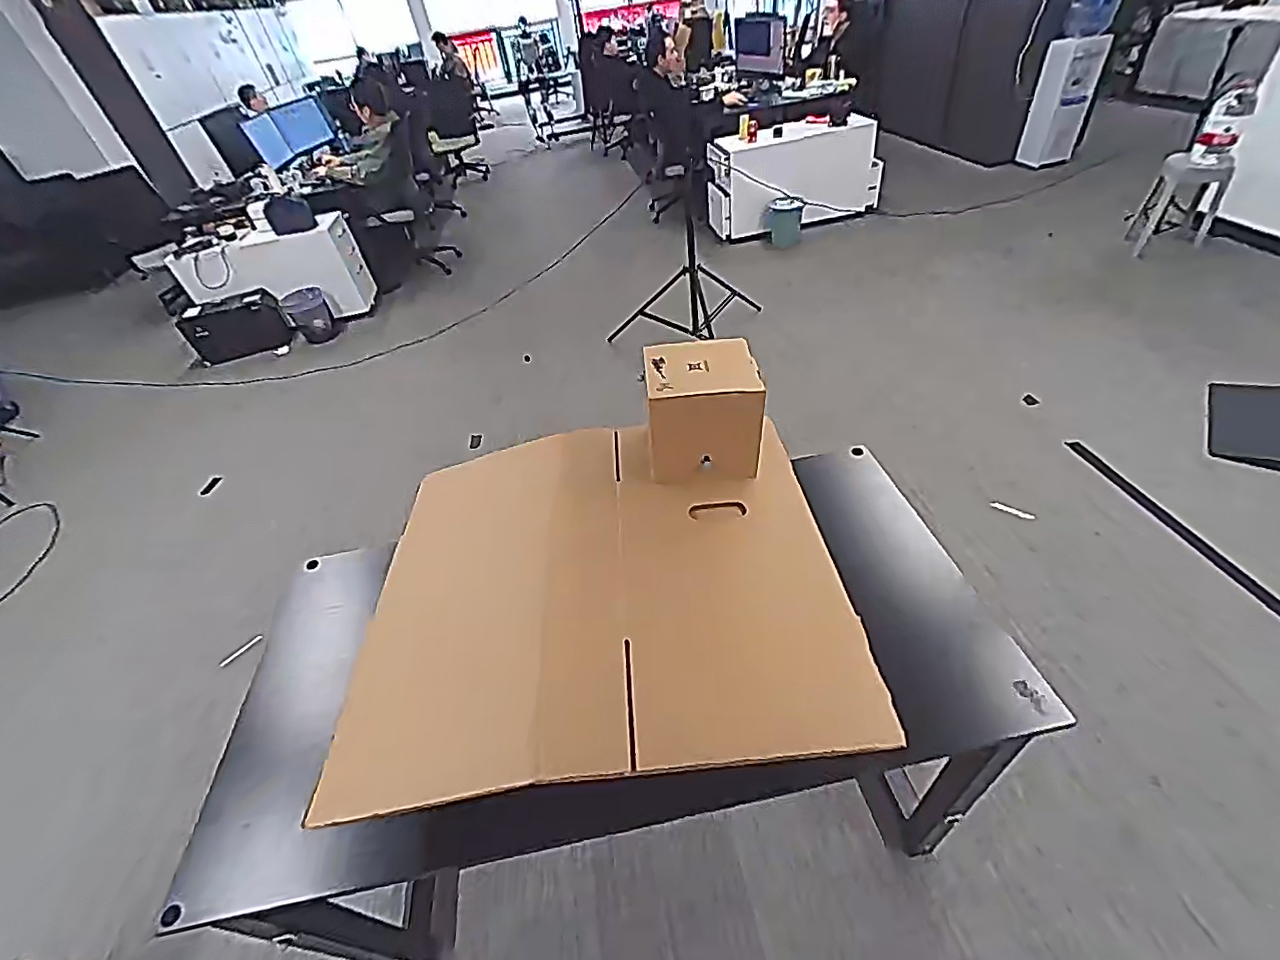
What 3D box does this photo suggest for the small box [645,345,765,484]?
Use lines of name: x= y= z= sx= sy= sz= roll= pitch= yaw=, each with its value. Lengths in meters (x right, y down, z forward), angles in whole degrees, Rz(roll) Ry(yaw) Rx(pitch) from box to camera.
small box: x=0.099 y=-0.109 z=0.907 sx=0.179 sy=0.176 sz=0.168 roll=-4 pitch=40 yaw=0
